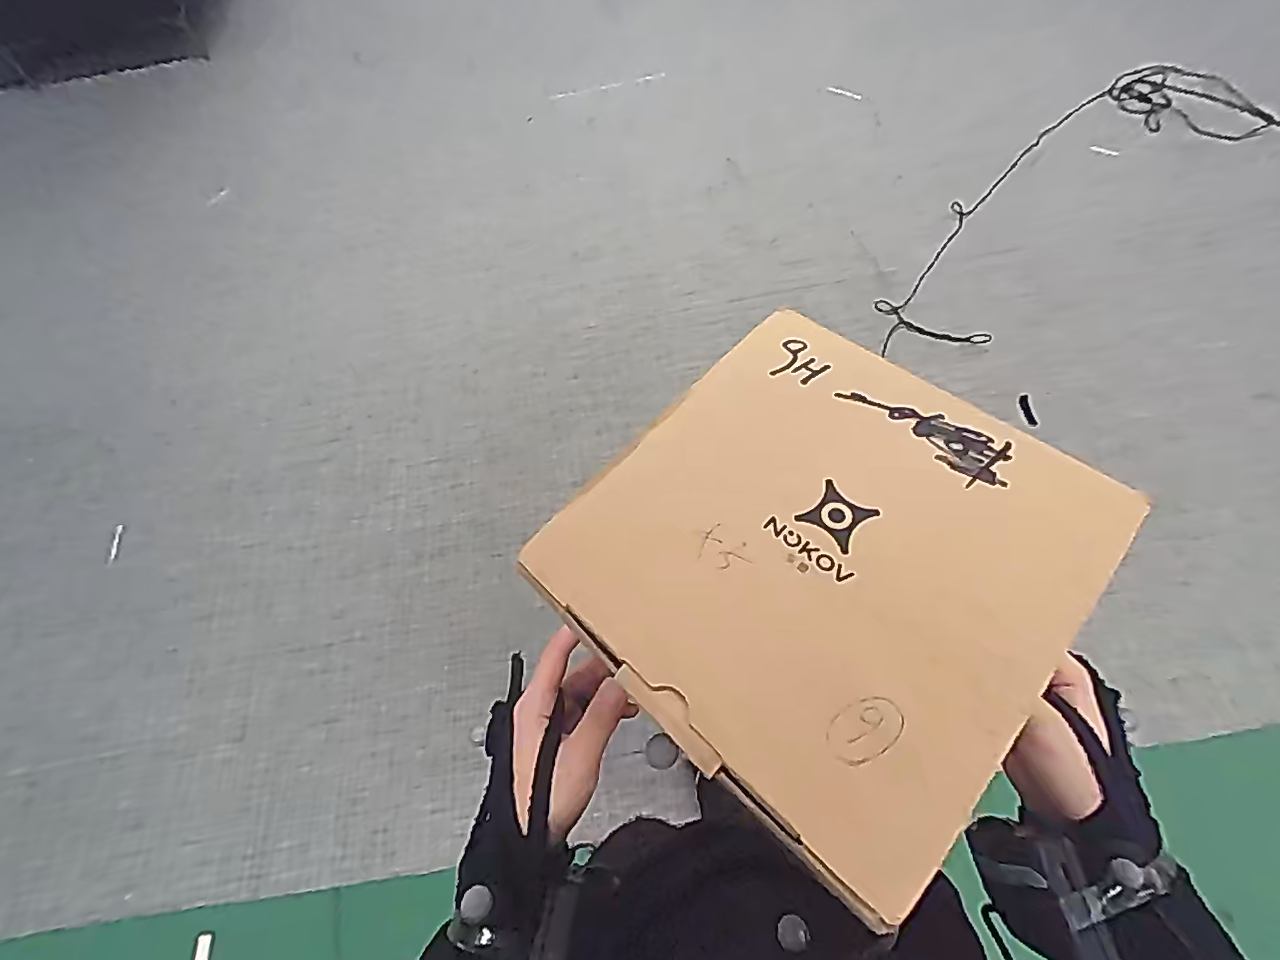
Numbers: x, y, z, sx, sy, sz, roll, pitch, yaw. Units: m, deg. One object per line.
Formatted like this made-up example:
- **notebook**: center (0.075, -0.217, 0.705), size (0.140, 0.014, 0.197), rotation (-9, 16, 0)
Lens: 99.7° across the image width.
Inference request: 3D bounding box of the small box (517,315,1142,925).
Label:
- **small box**: center (0.075, 0.061, 0.273), size (0.168, 0.176, 0.179), rotation (38, 72, 25)
